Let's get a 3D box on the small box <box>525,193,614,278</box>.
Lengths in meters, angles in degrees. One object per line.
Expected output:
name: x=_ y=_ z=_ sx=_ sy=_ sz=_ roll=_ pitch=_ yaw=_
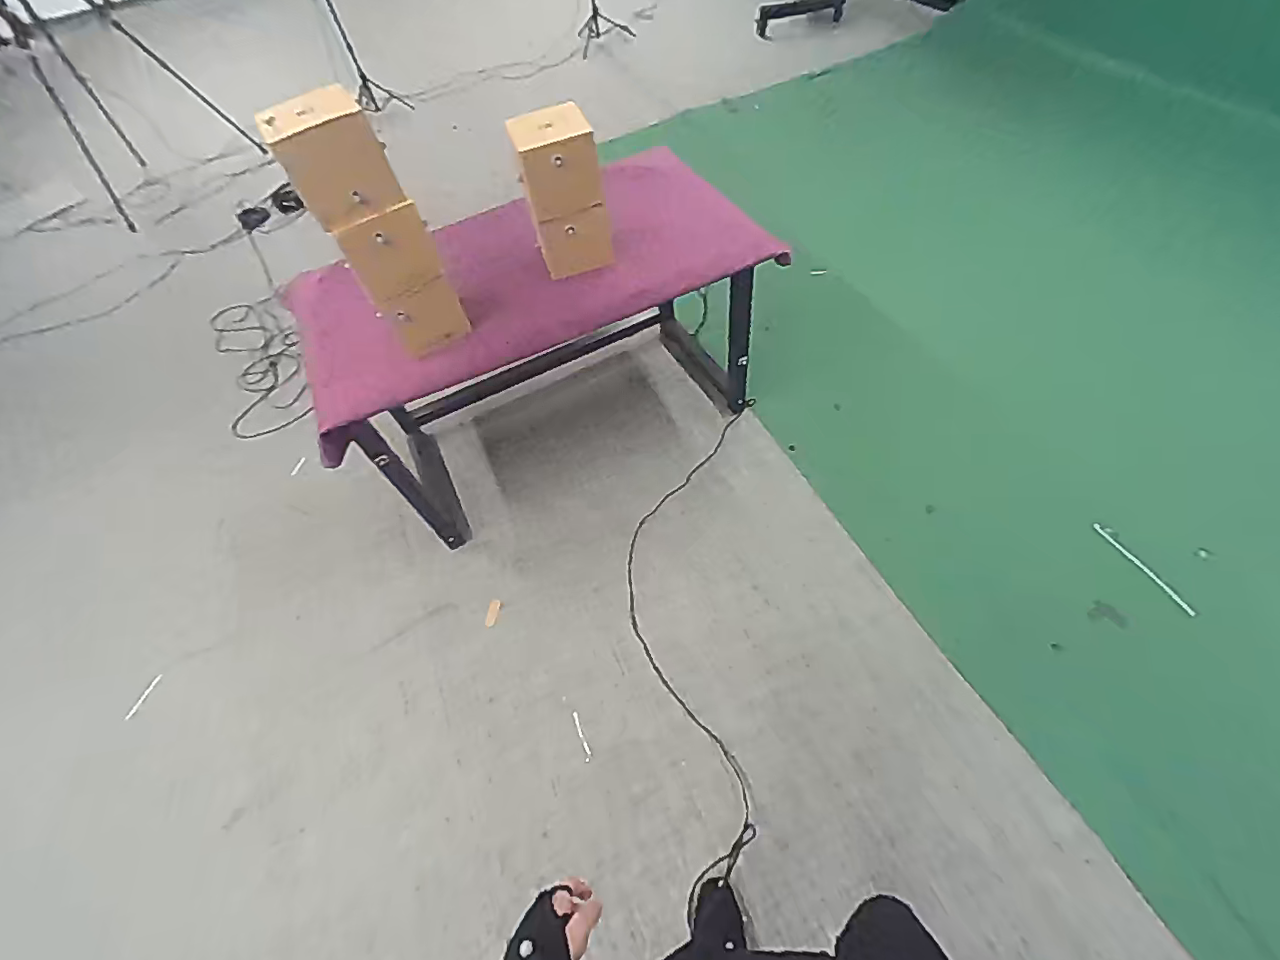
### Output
small box: x=-0.180 y=-0.657 z=1.411 sx=0.179 sy=0.176 sz=0.168 roll=-18 pitch=57 yaw=-6

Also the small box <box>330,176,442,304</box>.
small box: x=-0.554 y=-0.518 z=1.172 sx=0.179 sy=0.176 sz=0.168 roll=-31 pitch=57 yaw=-12

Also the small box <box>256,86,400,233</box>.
small box: x=-0.589 y=-0.615 z=1.043 sx=0.179 sy=0.176 sz=0.168 roll=-30 pitch=57 yaw=-12

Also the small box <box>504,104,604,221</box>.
small box: x=-0.198 y=-0.743 z=1.274 sx=0.179 sy=0.176 sz=0.168 roll=-19 pitch=57 yaw=-6
